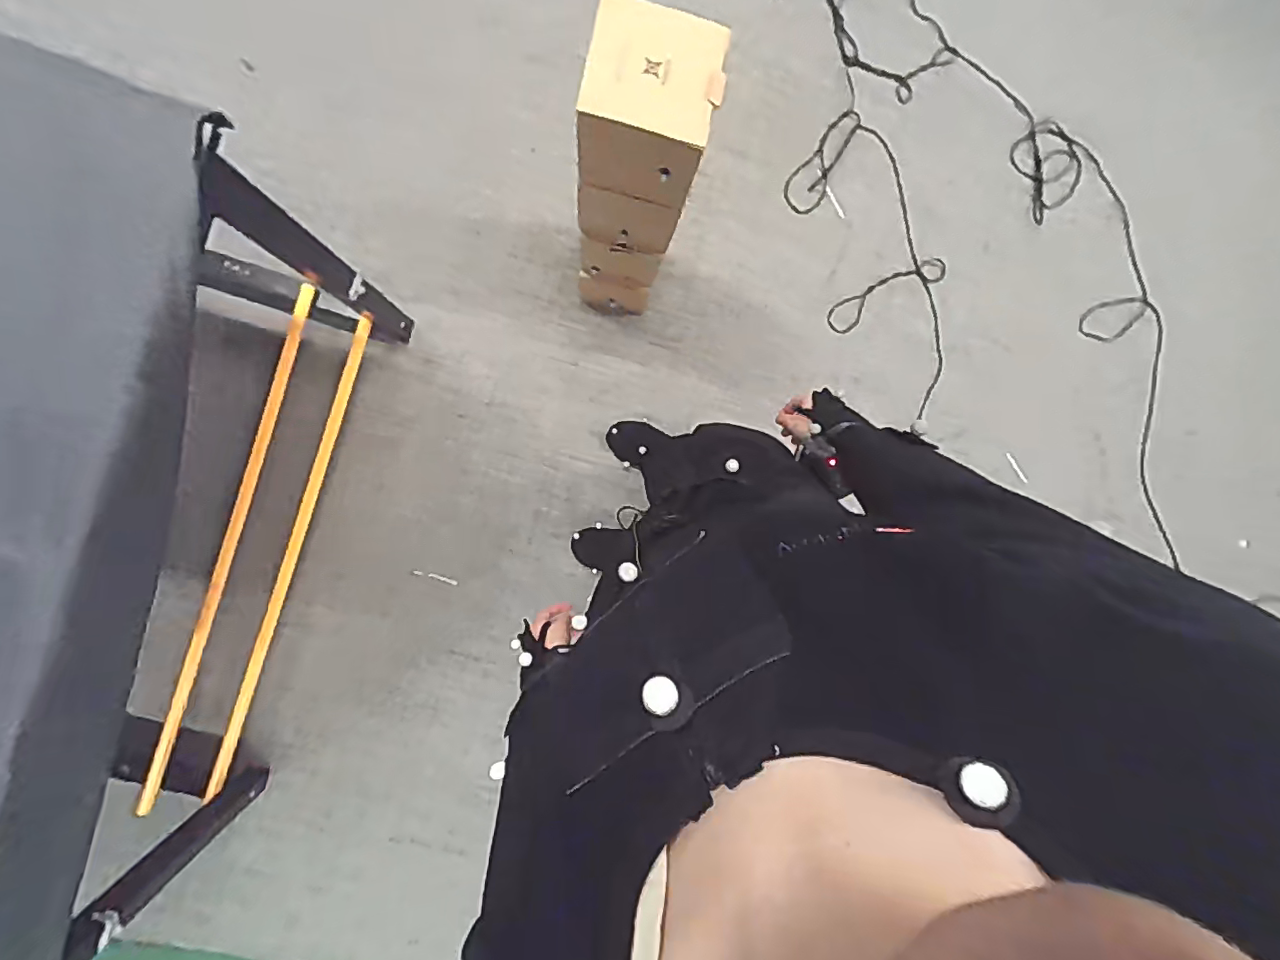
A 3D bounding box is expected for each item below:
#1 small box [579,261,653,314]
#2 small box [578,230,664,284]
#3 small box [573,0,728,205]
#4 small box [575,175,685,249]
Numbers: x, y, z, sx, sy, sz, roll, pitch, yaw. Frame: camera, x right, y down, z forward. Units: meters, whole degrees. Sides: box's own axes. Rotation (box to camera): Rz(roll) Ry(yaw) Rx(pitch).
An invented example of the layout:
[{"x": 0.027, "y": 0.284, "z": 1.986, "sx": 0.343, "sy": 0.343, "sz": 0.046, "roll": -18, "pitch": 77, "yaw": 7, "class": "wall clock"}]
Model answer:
[{"x": -0.047, "y": -0.513, "z": 1.265, "sx": 0.168, "sy": 0.176, "sz": 0.179, "roll": 11, "pitch": 90, "yaw": -5, "class": "small box"}, {"x": -0.028, "y": -0.523, "z": 1.102, "sx": 0.168, "sy": 0.176, "sz": 0.179, "roll": 11, "pitch": 88, "yaw": -6, "class": "small box"}, {"x": 0.008, "y": -0.527, "z": 0.777, "sx": 0.179, "sy": 0.176, "sz": 0.168, "roll": 12, "pitch": 89, "yaw": -5, "class": "small box"}, {"x": -0.012, "y": -0.526, "z": 0.939, "sx": 0.179, "sy": 0.176, "sz": 0.168, "roll": 12, "pitch": 89, "yaw": -6, "class": "small box"}]
